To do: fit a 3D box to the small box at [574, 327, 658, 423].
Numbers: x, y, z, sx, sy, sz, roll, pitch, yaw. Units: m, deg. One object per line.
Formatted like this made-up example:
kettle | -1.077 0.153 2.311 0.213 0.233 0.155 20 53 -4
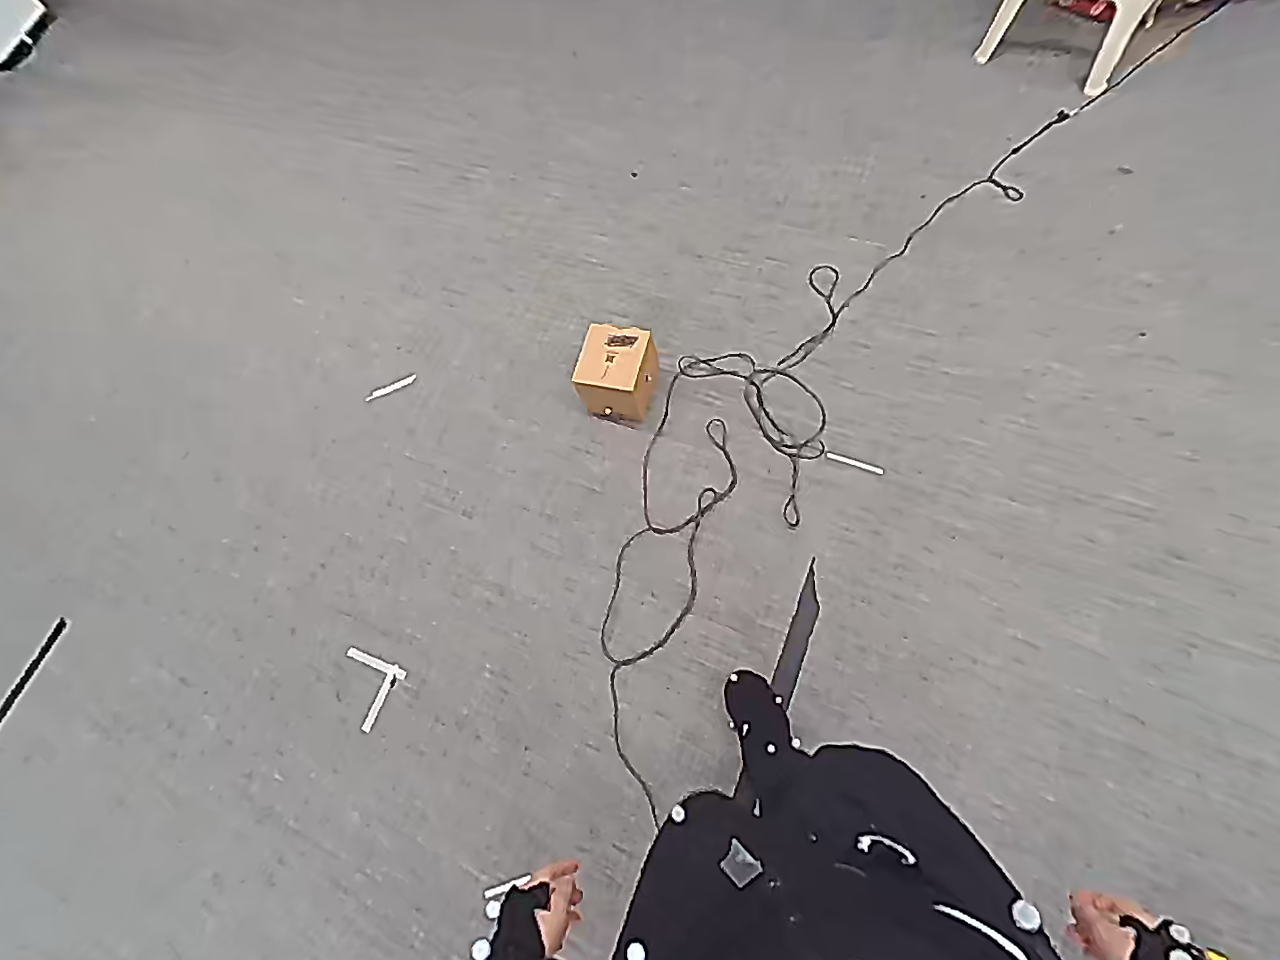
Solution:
small box | -0.054 -0.274 1.428 0.168 0.176 0.179 12 73 14
